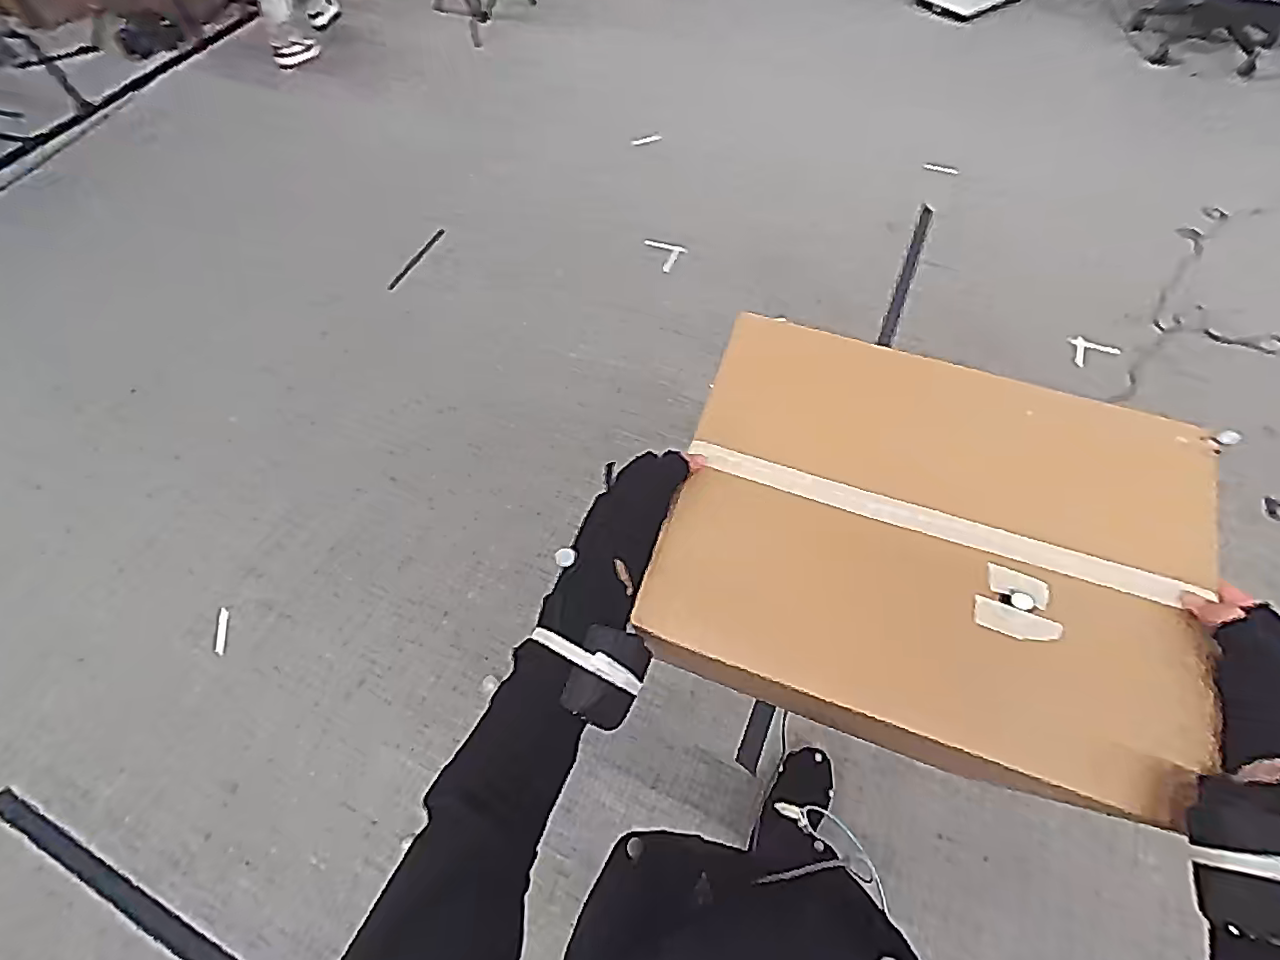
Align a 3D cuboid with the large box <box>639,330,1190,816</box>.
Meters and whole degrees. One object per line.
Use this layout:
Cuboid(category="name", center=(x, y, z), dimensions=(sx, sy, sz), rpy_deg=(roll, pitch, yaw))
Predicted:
Cuboid(category="large box", center=(0.236, 0.096, 0.584), dimensions=(0.408, 0.320, 0.320), rpy_deg=(17, 71, 9))
